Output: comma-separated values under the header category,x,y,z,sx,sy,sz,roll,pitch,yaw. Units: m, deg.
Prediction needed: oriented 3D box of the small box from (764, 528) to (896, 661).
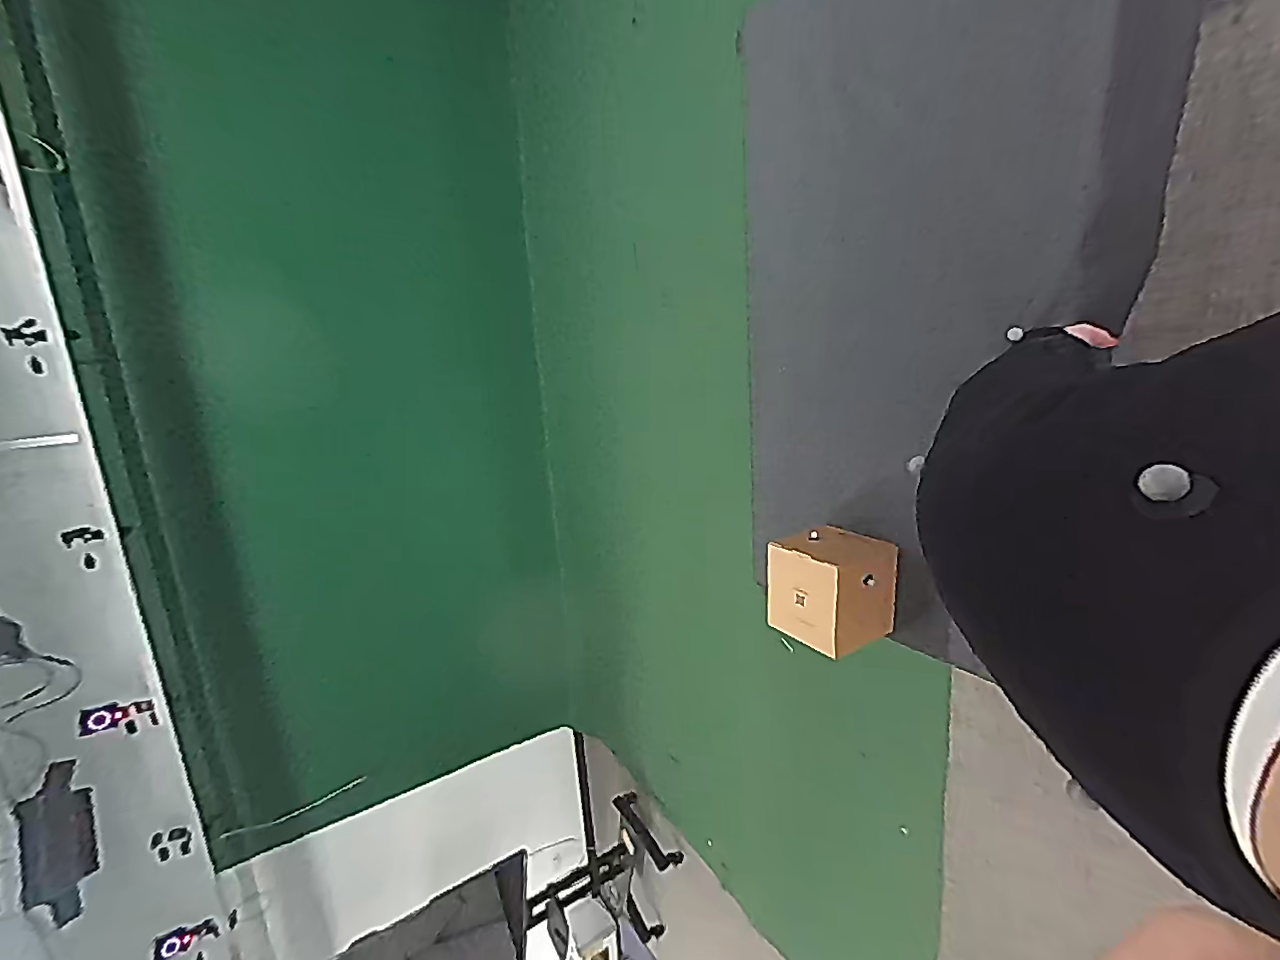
category,x,y,z,sx,sy,sz,roll,pitch,yaw
small box,0.356,0.203,1.019,0.168,0.176,0.179,22,118,57
